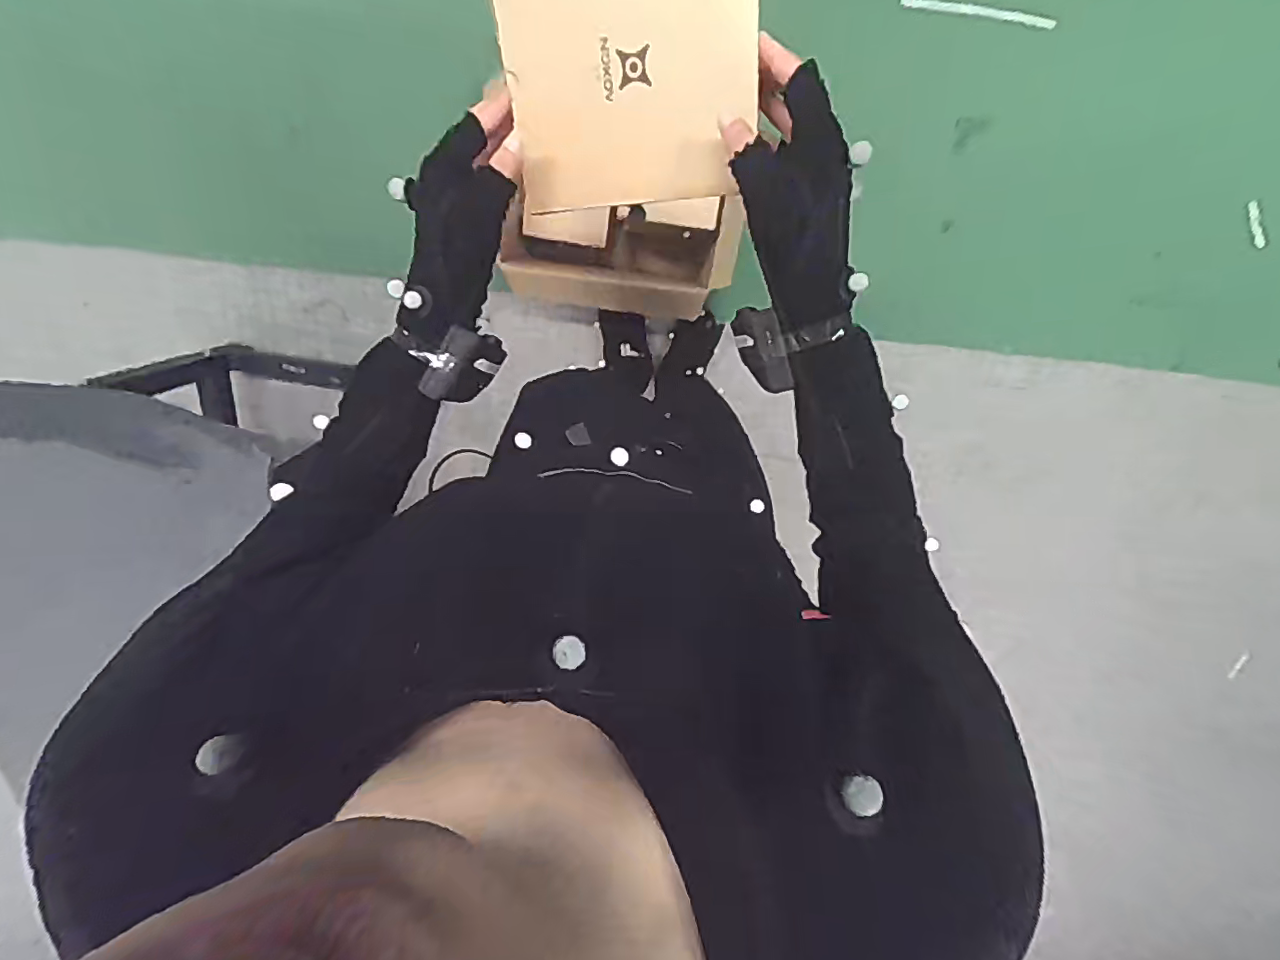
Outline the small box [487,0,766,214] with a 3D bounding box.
[{"bbox_3d":[0.003,-0.312,0.419,0.179,0.176,0.168,0,121,10],"label":"small box"}]
